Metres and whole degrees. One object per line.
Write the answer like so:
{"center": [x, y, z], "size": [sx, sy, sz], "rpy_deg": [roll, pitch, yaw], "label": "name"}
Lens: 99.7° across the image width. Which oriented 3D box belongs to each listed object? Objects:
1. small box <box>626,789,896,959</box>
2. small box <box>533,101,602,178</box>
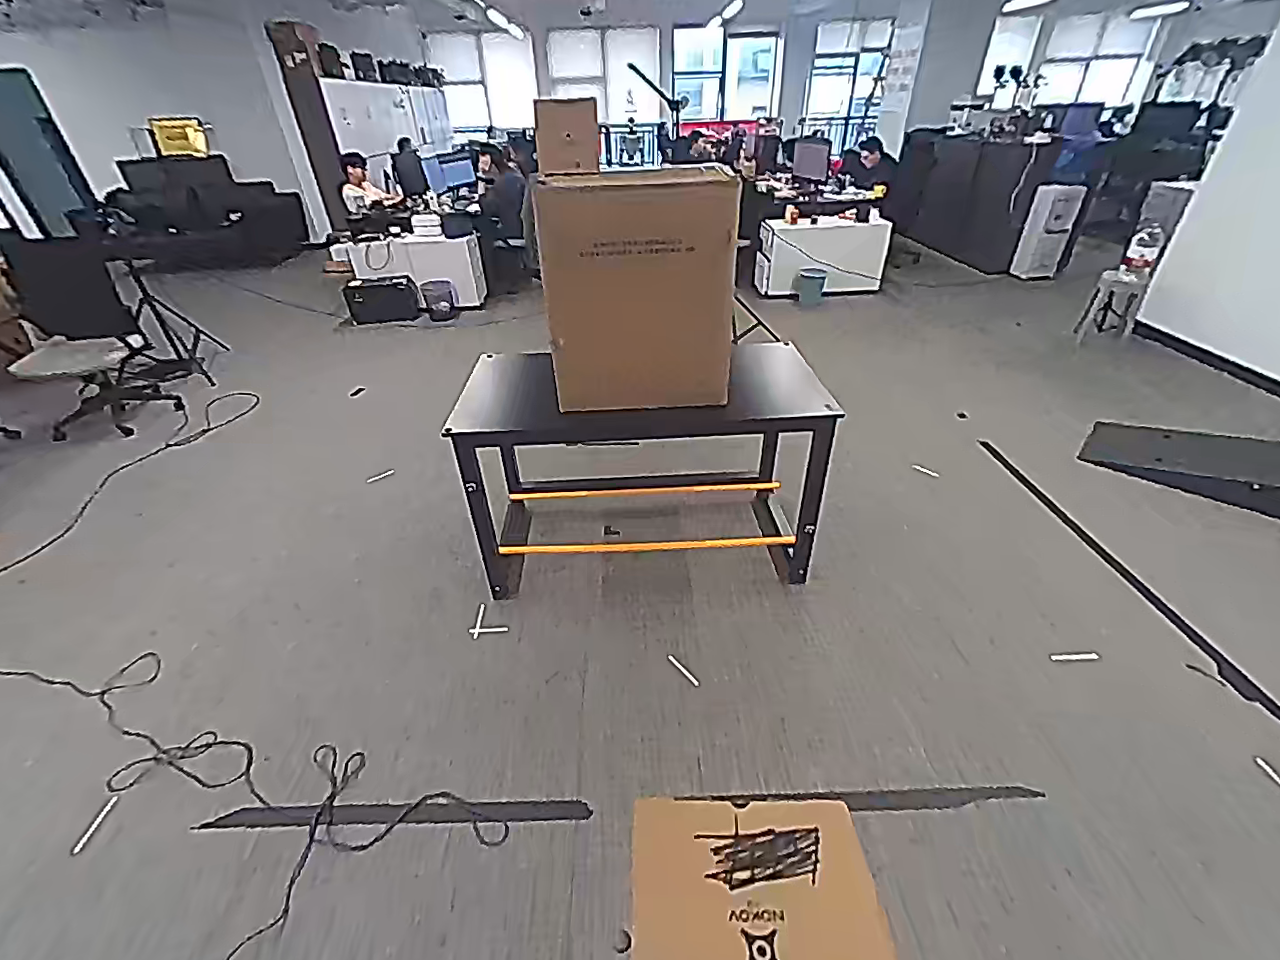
{"center": [0.073, 0.354, 0.382], "size": [0.168, 0.176, 0.179], "rpy_deg": [1, 28, 0], "label": "small box"}
{"center": [-0.194, -0.928, 1.478], "size": [0.168, 0.176, 0.179], "rpy_deg": [-4, 34, -4], "label": "small box"}
